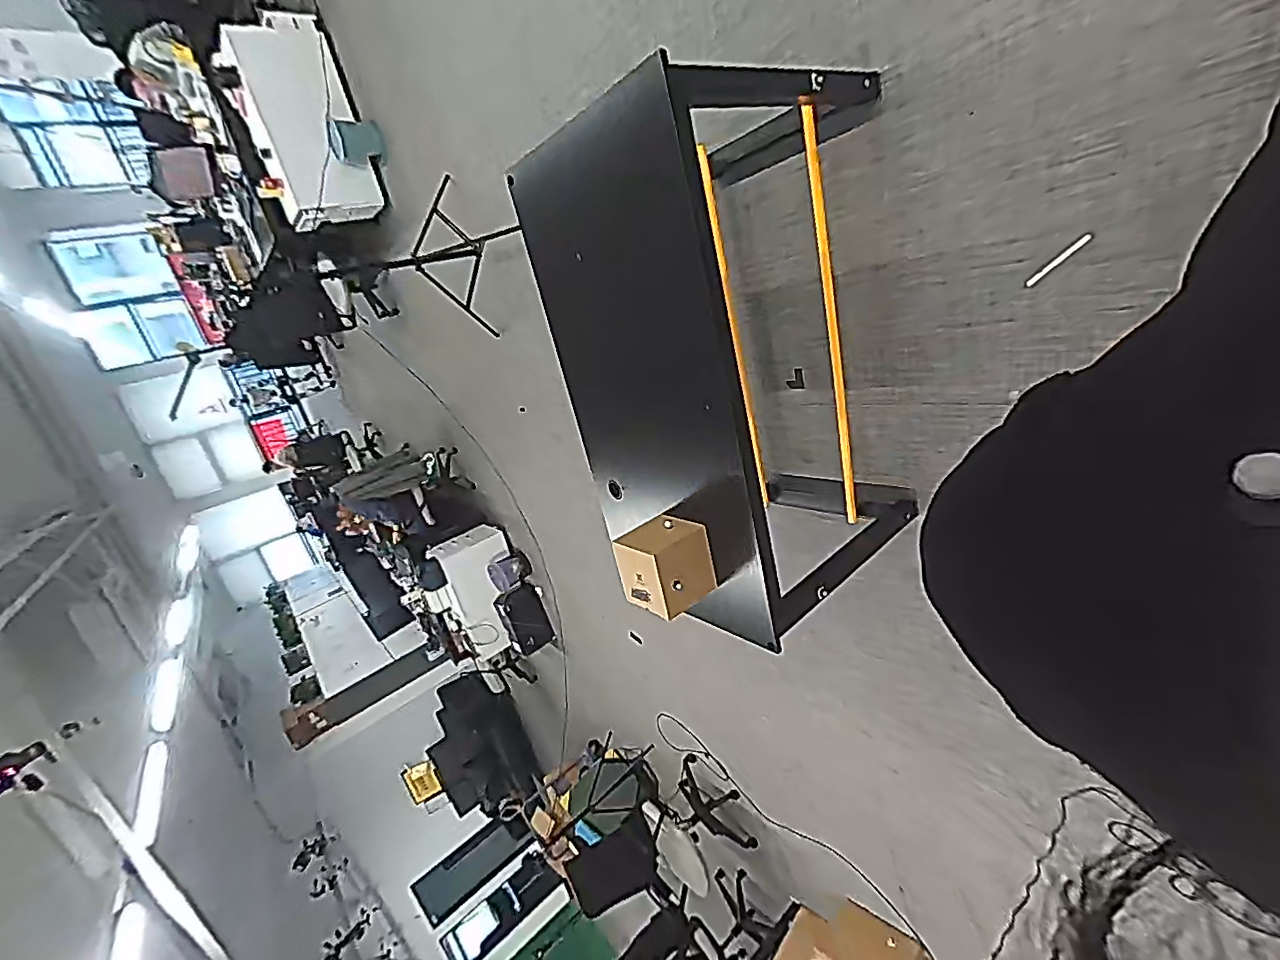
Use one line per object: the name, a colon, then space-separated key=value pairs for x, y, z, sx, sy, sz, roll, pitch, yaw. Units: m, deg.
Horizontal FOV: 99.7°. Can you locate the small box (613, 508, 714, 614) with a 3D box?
small box: x=0.064 y=0.192 z=1.330 sx=0.168 sy=0.176 sz=0.179 roll=11 pitch=121 yaw=51
